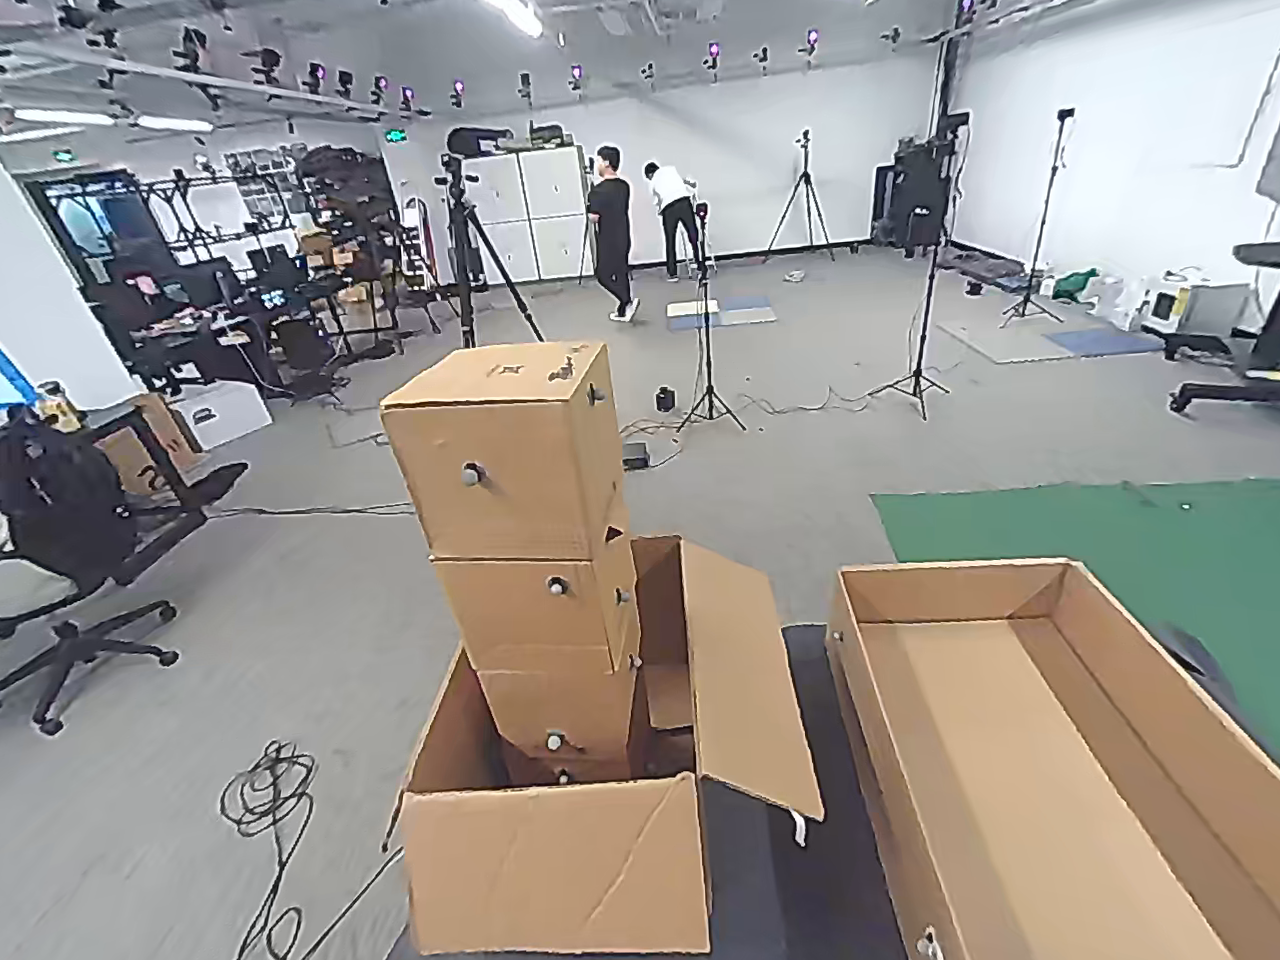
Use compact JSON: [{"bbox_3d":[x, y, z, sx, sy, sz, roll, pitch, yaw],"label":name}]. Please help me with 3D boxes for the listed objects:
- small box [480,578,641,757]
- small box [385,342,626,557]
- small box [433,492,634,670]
[{"bbox_3d":[-0.093,0.243,0.735,0.168,0.176,0.179,-2,33,8],"label":"small box"},{"bbox_3d":[-0.120,-0.033,0.564,0.179,0.176,0.168,-1,32,9],"label":"small box"},{"bbox_3d":[-0.111,0.107,0.649,0.179,0.176,0.168,-1,31,9],"label":"small box"}]
